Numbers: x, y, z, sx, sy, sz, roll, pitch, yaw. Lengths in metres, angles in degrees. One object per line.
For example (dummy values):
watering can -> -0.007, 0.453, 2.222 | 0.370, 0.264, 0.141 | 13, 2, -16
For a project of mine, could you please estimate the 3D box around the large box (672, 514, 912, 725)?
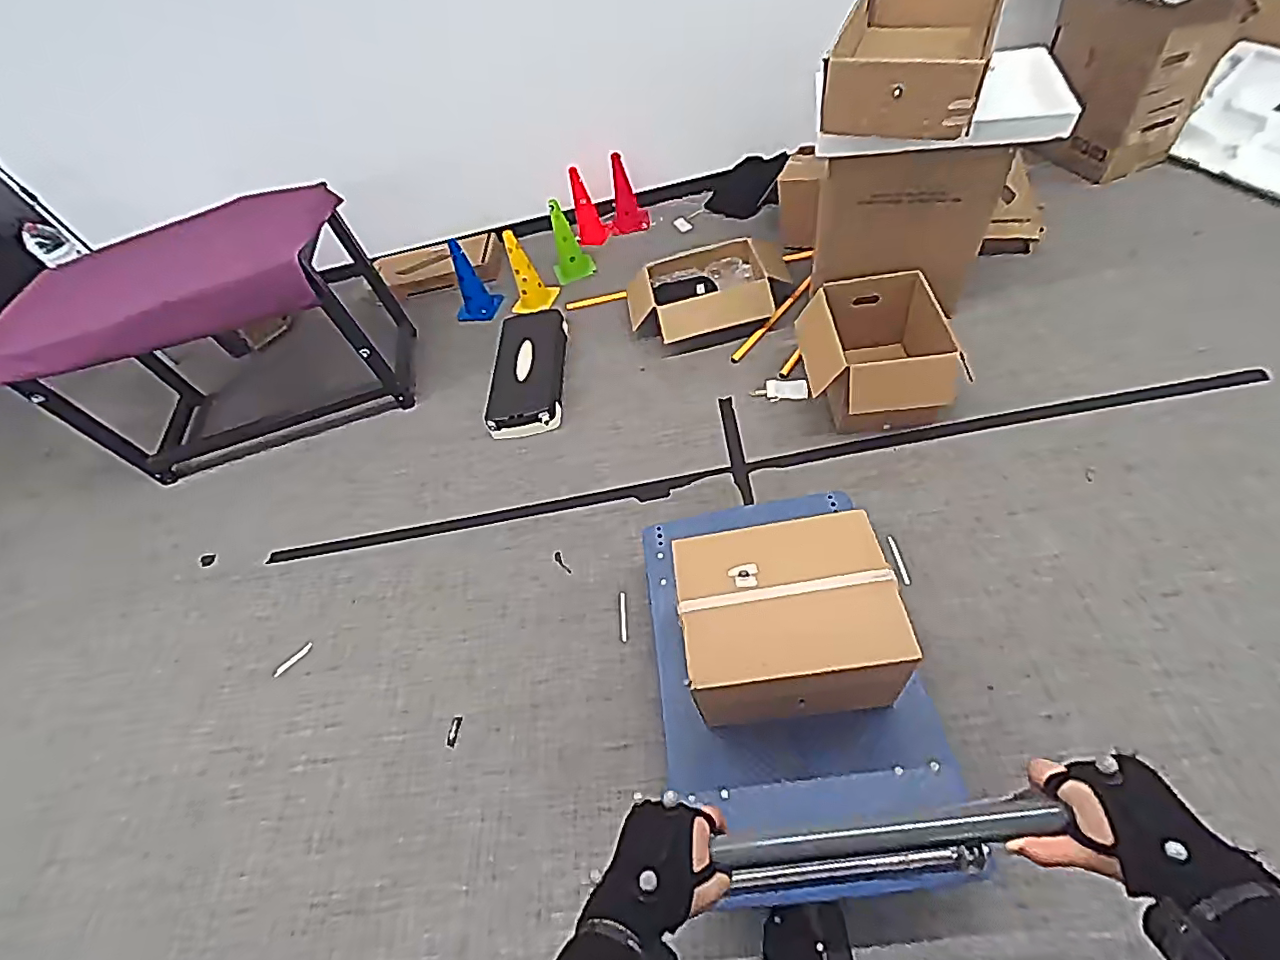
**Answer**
large box -> 0.307, 0.314, 1.176 | 0.408, 0.320, 0.320 | -11, 52, 7
